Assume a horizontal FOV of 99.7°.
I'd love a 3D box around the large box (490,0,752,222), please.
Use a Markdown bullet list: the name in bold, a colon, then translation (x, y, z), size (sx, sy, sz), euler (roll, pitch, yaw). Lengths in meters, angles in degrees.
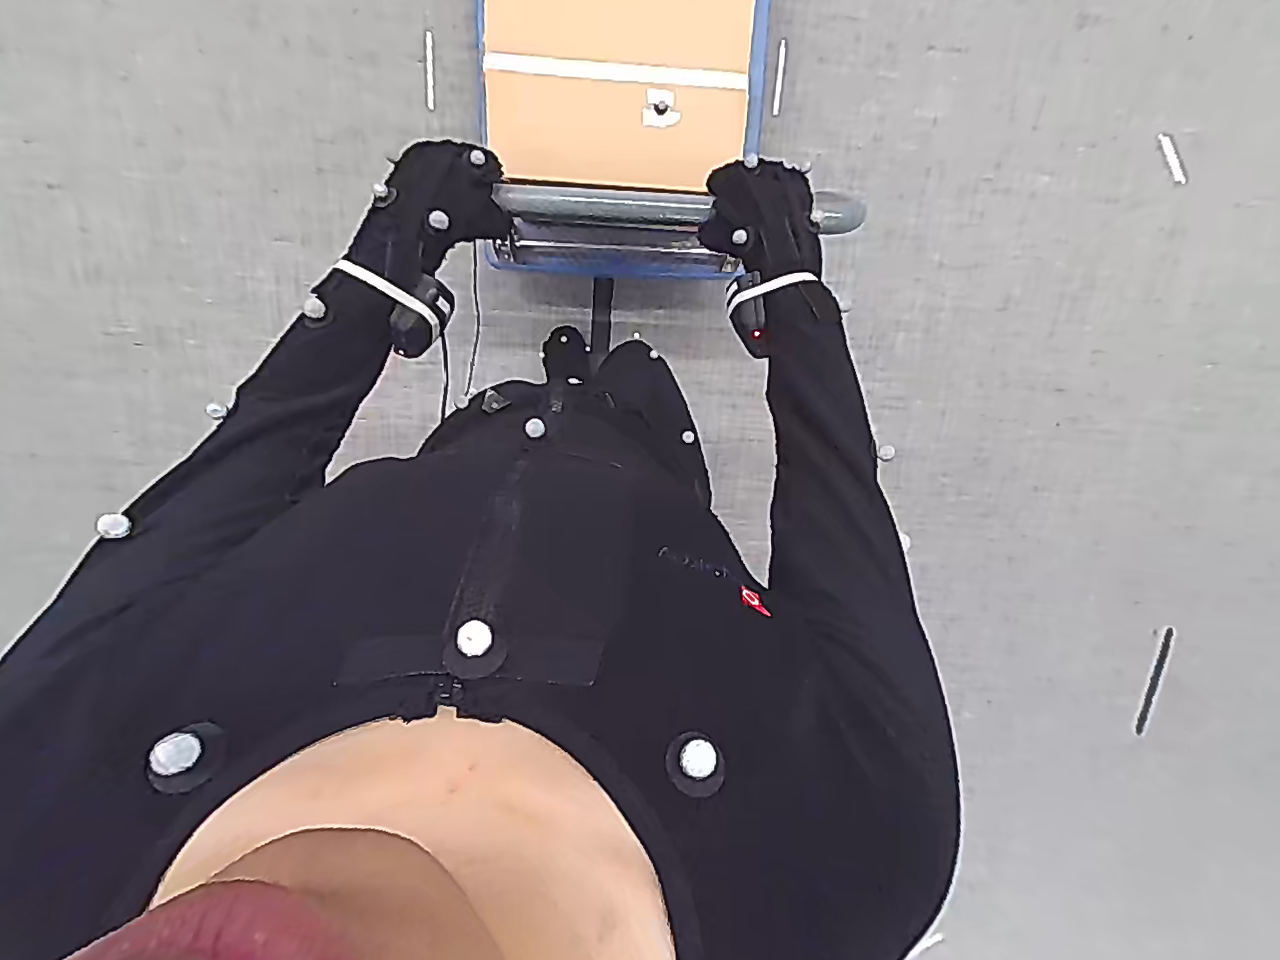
- **large box**: translation (-0.041, -0.675, 0.984), size (0.408, 0.320, 0.320), euler (1, 105, -5)
